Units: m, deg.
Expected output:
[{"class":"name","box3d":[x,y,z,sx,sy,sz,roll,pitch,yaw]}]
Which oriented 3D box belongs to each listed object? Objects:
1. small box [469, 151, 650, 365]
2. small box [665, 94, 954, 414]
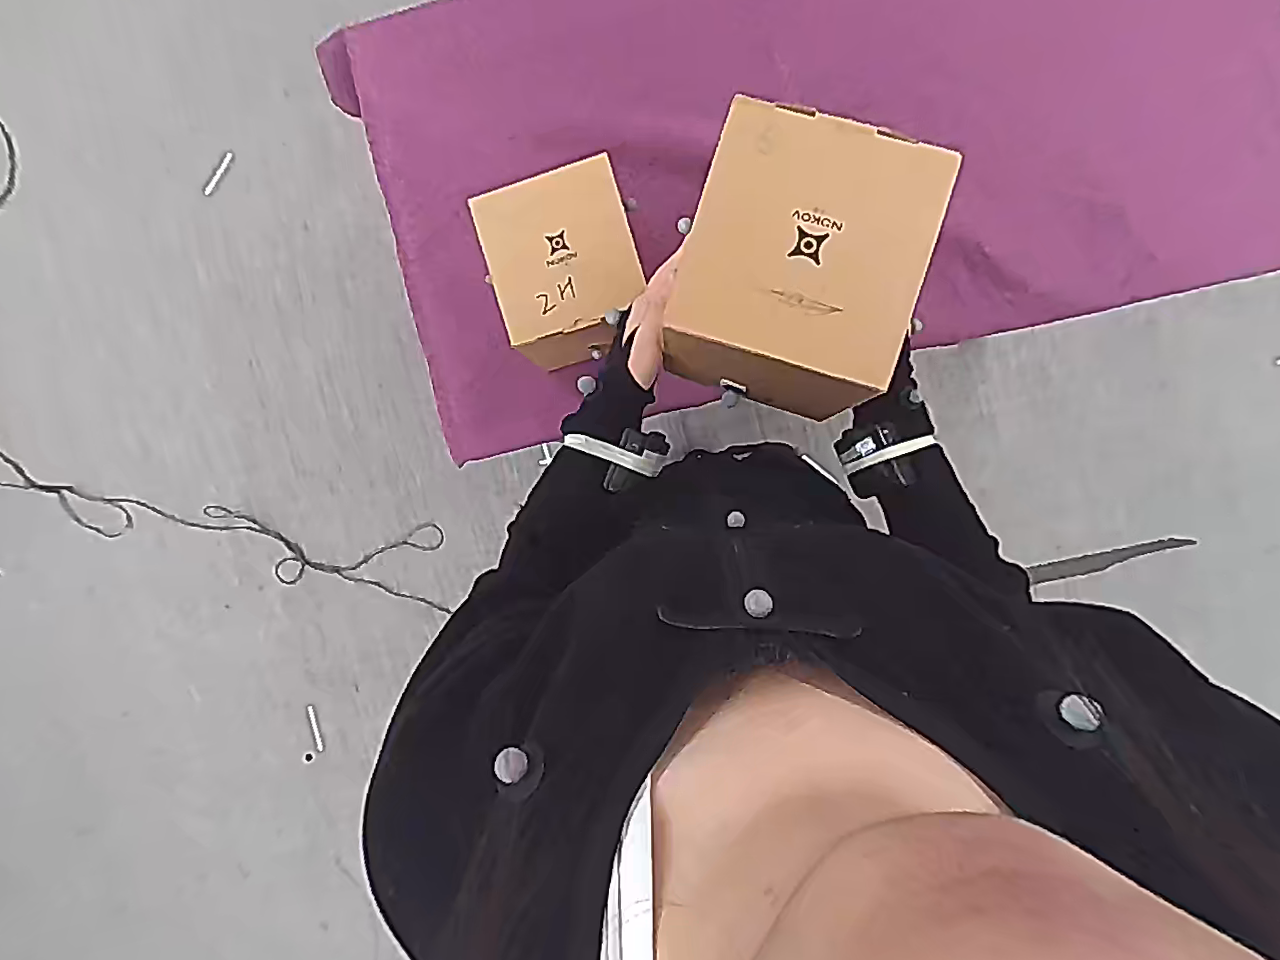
[{"class":"small box","box3d":[-0.089,-0.263,0.683,0.168,0.176,0.179,-17,92,4]},{"class":"small box","box3d":[0.123,-0.170,0.462,0.168,0.176,0.179,17,90,4]}]
